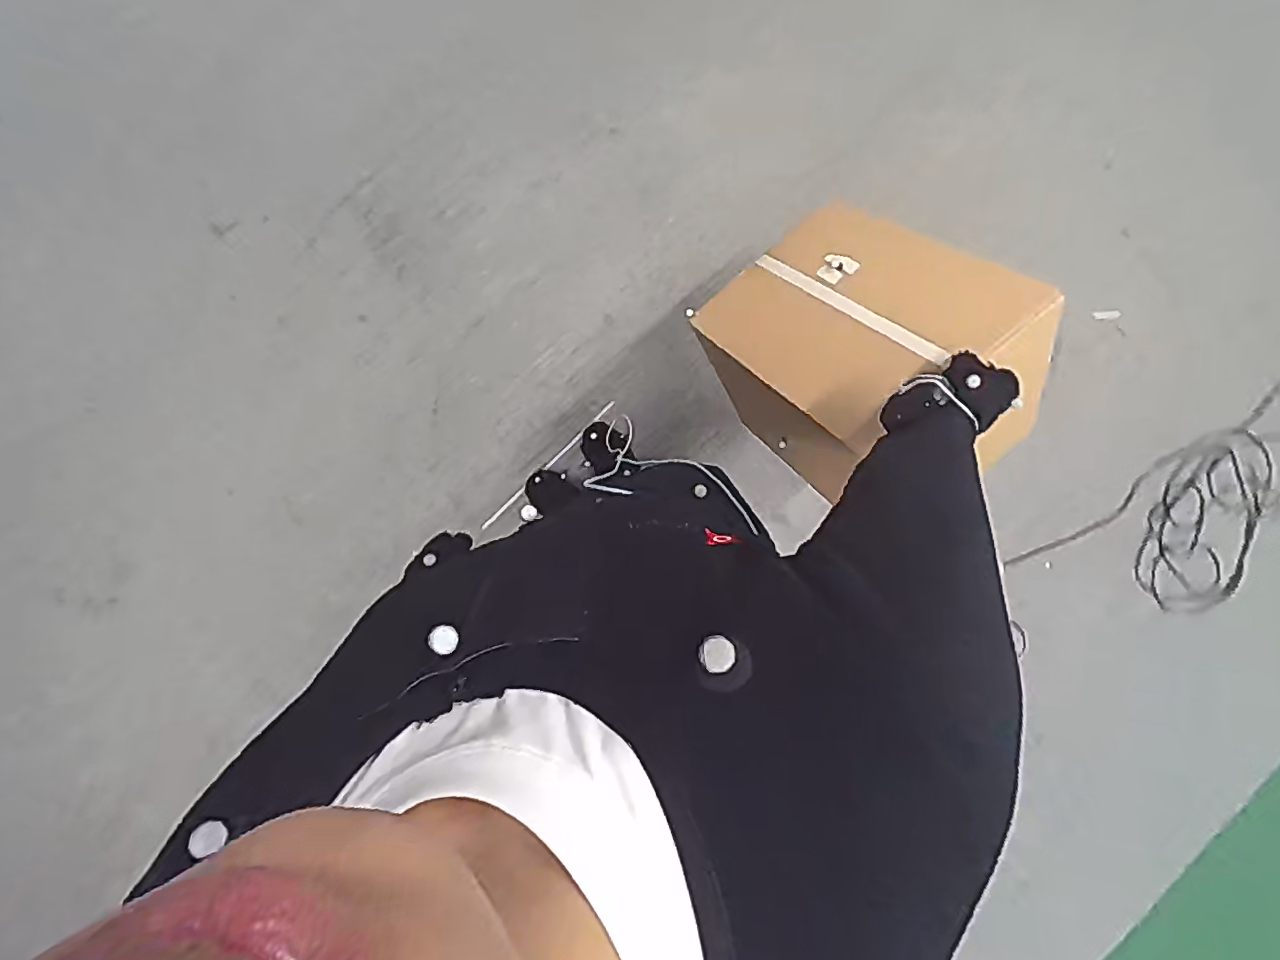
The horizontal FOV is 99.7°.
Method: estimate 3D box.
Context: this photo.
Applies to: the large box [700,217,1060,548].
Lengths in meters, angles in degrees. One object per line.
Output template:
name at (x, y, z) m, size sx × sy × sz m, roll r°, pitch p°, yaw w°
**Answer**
large box at (0.378, -0.163, 0.907) m, size 0.320 × 0.408 × 0.320 m, roll -39°, pitch 139°, yaw 2°
